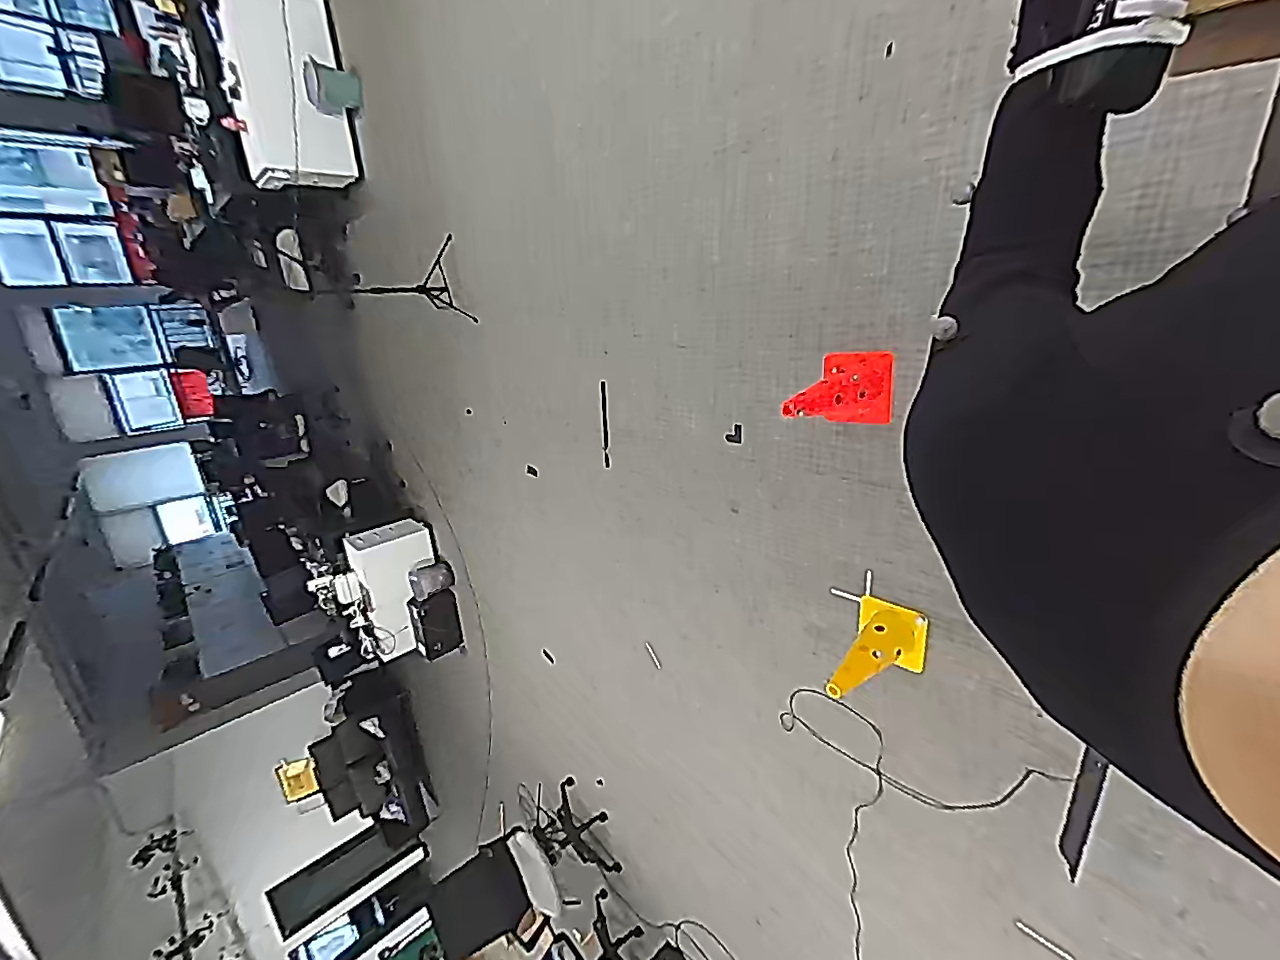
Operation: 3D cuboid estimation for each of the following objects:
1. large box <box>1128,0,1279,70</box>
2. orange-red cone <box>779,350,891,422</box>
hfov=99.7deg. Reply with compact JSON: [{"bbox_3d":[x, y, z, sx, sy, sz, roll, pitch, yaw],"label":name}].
[{"bbox_3d":[0.550,-0.452,0.259,0.408,0.320,0.320,18,124,41],"label":"large box"},{"bbox_3d":[0.485,-0.219,1.423,0.198,0.360,0.199,14,117,47],"label":"orange-red cone"}]
